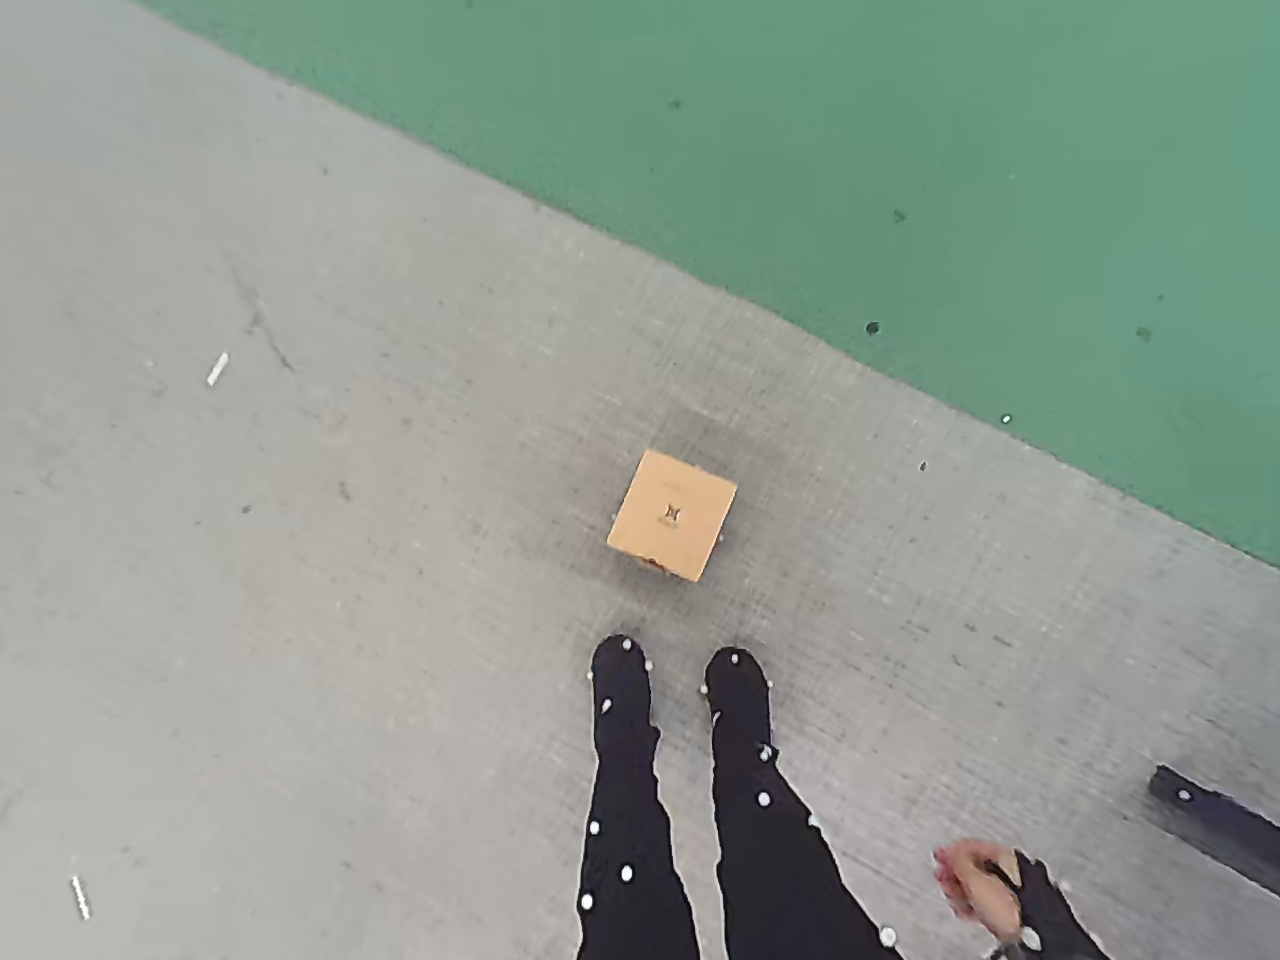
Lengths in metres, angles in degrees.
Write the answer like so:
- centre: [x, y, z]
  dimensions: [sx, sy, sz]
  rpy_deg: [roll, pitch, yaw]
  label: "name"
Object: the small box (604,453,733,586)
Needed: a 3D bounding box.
- centre: [0.052, 0.069, 0.968]
  dimensions: [0.168, 0.176, 0.179]
  rpy_deg: [22, 87, 4]
  label: "small box"
